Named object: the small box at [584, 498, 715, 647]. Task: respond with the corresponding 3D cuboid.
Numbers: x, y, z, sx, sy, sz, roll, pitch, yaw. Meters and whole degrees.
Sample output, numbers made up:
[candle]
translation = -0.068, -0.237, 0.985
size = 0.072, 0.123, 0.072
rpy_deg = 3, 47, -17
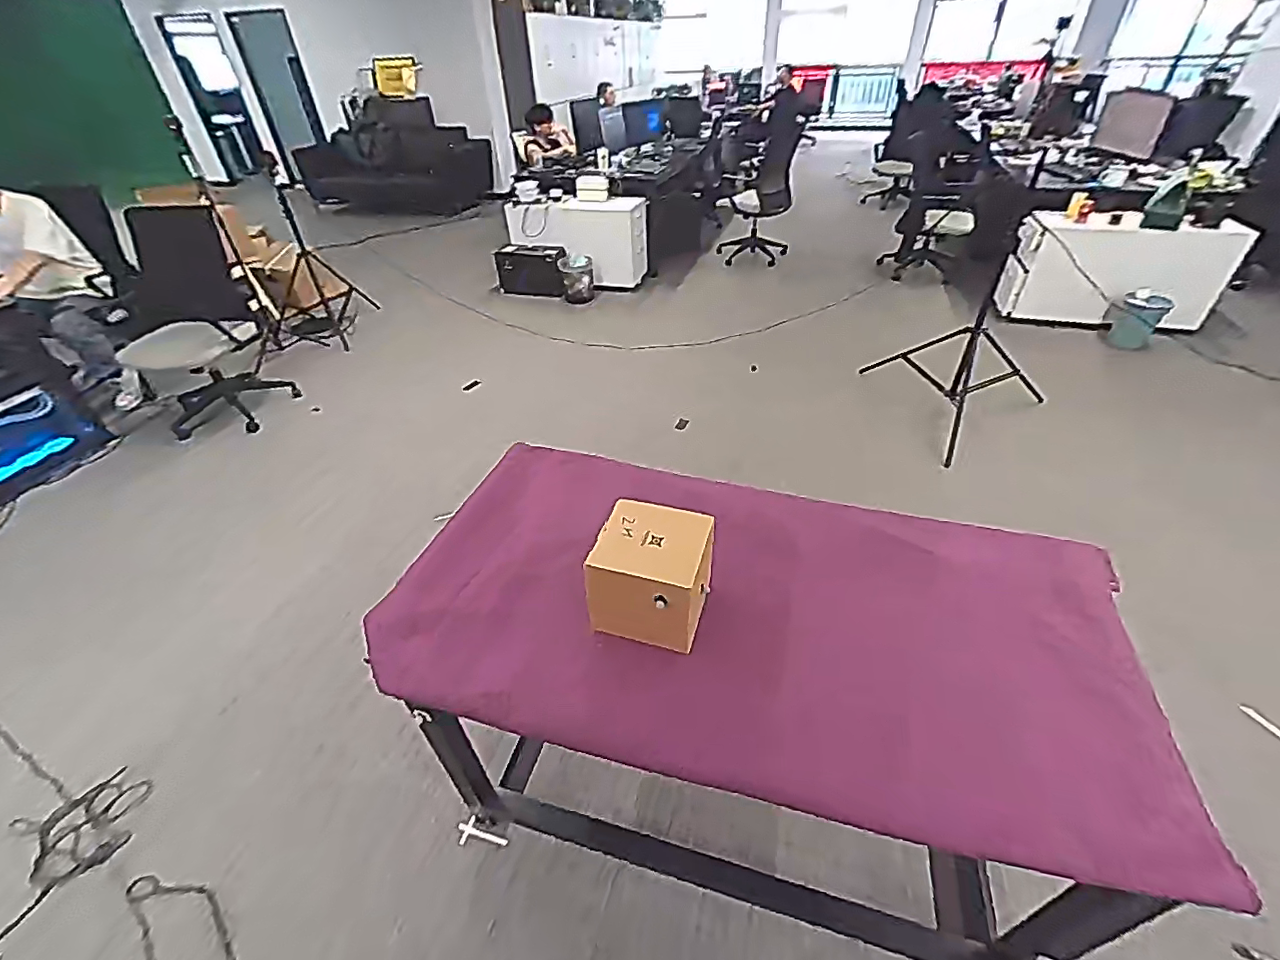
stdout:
[small box]
translation = 0.023, 0.159, 0.923
size = 0.179, 0.176, 0.168
rpy_deg = 10, 40, 15
